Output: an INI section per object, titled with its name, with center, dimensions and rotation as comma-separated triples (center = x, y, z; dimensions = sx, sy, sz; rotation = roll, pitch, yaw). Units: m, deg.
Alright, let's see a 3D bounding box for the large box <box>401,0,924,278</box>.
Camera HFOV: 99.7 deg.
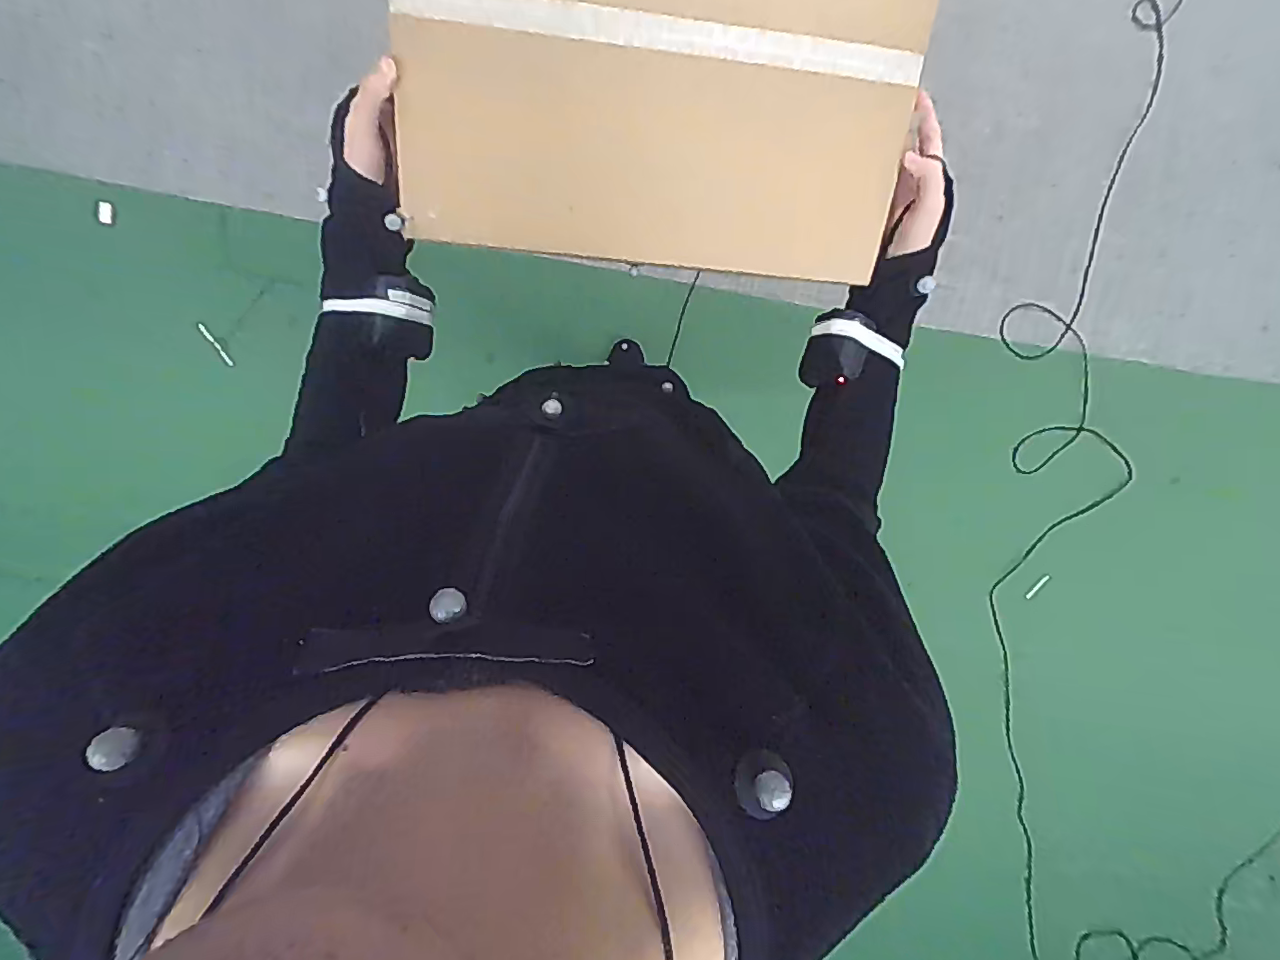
[large box]
center = 0.011, -0.396, 0.555
dimensions = 0.408, 0.320, 0.320
rotation = 4, 112, -6
